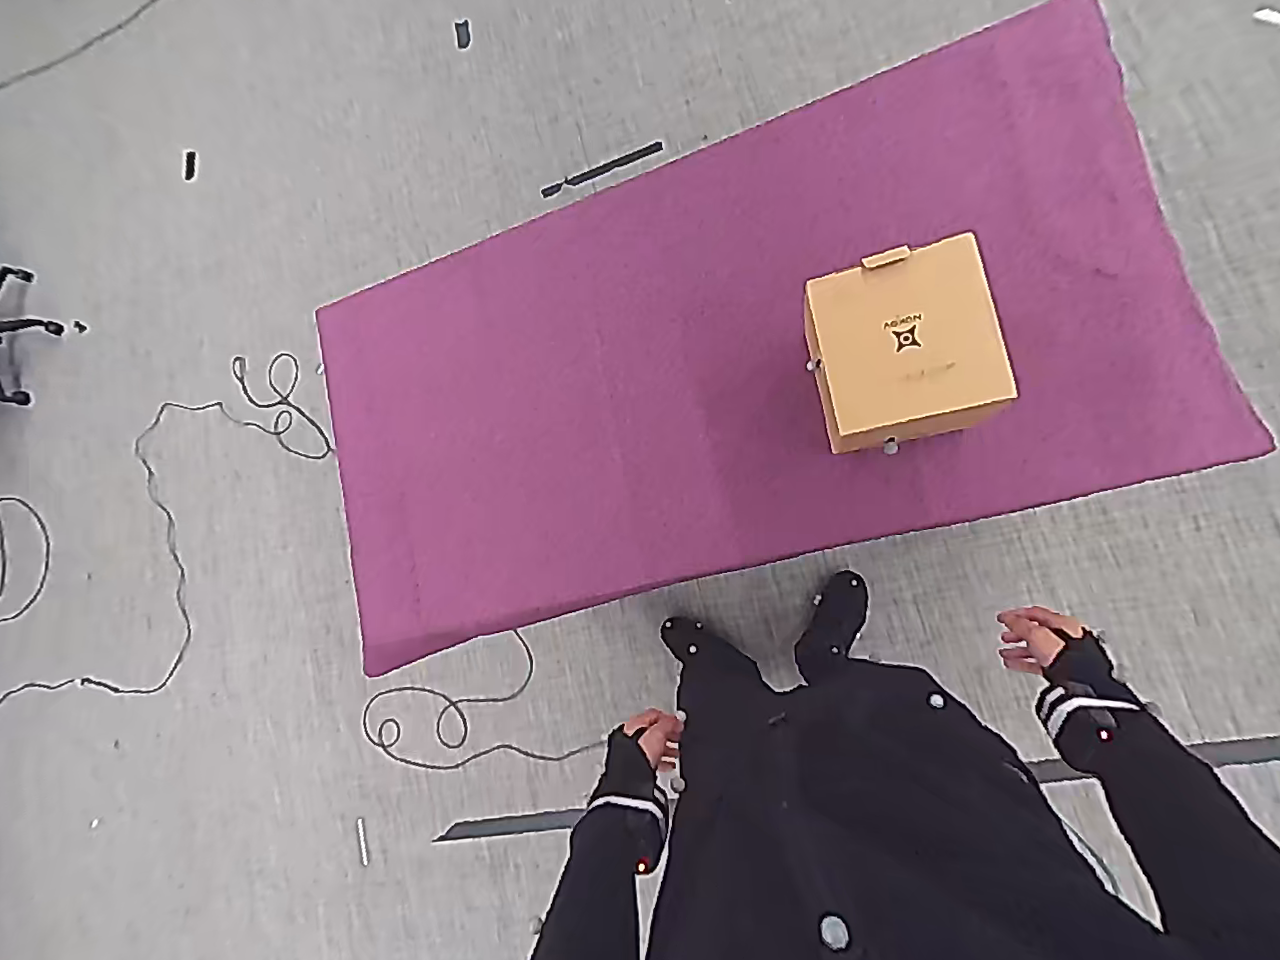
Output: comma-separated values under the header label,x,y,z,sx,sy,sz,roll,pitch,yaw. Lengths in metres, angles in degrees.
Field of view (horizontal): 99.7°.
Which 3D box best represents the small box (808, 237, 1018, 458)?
label,x,y,z,sx,sy,sz,roll,pitch,yaw
small box,0.290,-0.134,0.618,0.168,0.176,0.179,-12,82,16
